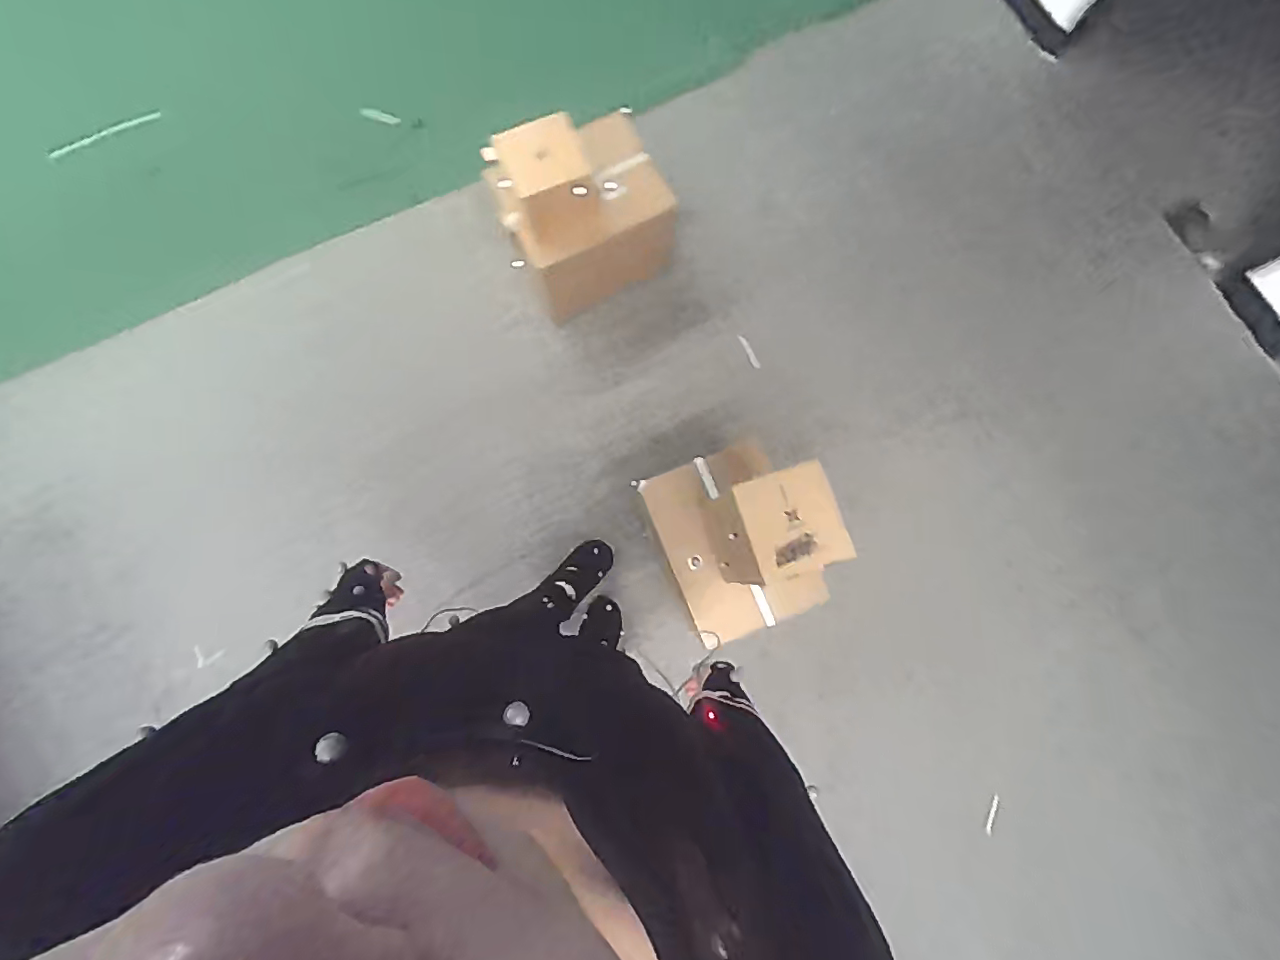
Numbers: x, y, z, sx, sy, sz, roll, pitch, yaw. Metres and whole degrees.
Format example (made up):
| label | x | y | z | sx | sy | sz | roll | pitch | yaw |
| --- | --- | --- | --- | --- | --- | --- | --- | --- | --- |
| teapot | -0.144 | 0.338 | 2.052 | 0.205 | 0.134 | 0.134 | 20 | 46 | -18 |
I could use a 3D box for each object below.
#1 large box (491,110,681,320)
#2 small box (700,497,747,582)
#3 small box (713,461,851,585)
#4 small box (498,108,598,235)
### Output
| label | x | y | z | sx | sy | sz | roll | pitch | yaw |
| --- | --- | --- | --- | --- | --- | --- | --- | --- | --- |
| large box | -0.143 | -0.719 | 1.514 | 0.408 | 0.320 | 0.320 | -27 | 82 | -7 |
| small box | 0.239 | 0.107 | 1.143 | 0.168 | 0.176 | 0.179 | -17 | 81 | -7 |
| small box | 0.247 | 0.082 | 0.981 | 0.168 | 0.176 | 0.179 | -16 | 81 | -7 |
| small box | -0.205 | -0.708 | 1.261 | 0.179 | 0.176 | 0.168 | -23 | 83 | -7 |
